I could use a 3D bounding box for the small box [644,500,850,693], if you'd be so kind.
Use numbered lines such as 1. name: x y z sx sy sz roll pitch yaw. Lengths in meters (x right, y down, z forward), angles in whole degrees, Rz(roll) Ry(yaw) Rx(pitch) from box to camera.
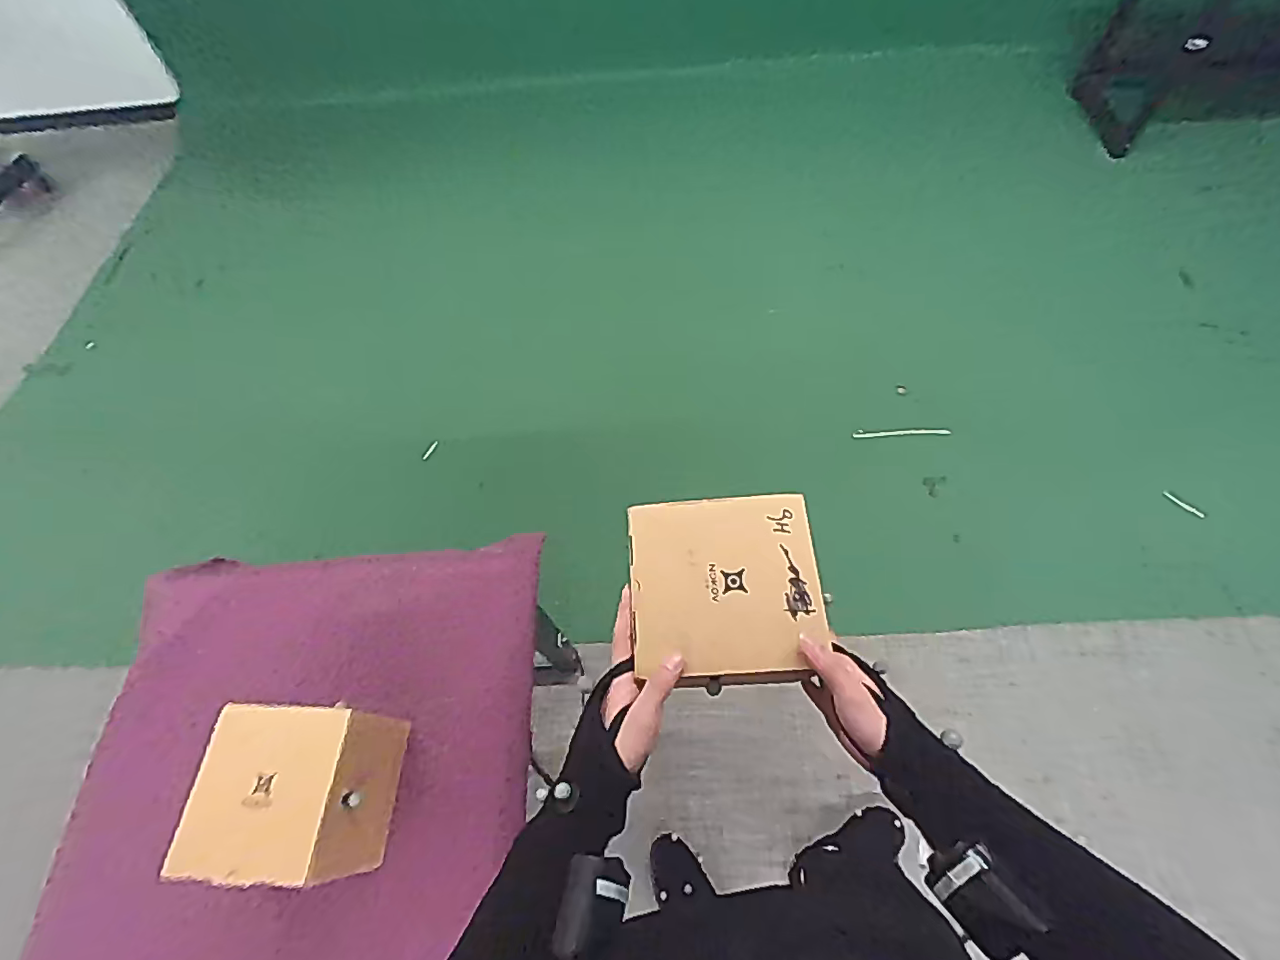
1. small box: 0.100 0.132 0.573 0.179 0.176 0.168 -3 65 3

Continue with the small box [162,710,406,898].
1. small box: -0.417 0.393 0.674 0.168 0.176 0.179 1 62 3
